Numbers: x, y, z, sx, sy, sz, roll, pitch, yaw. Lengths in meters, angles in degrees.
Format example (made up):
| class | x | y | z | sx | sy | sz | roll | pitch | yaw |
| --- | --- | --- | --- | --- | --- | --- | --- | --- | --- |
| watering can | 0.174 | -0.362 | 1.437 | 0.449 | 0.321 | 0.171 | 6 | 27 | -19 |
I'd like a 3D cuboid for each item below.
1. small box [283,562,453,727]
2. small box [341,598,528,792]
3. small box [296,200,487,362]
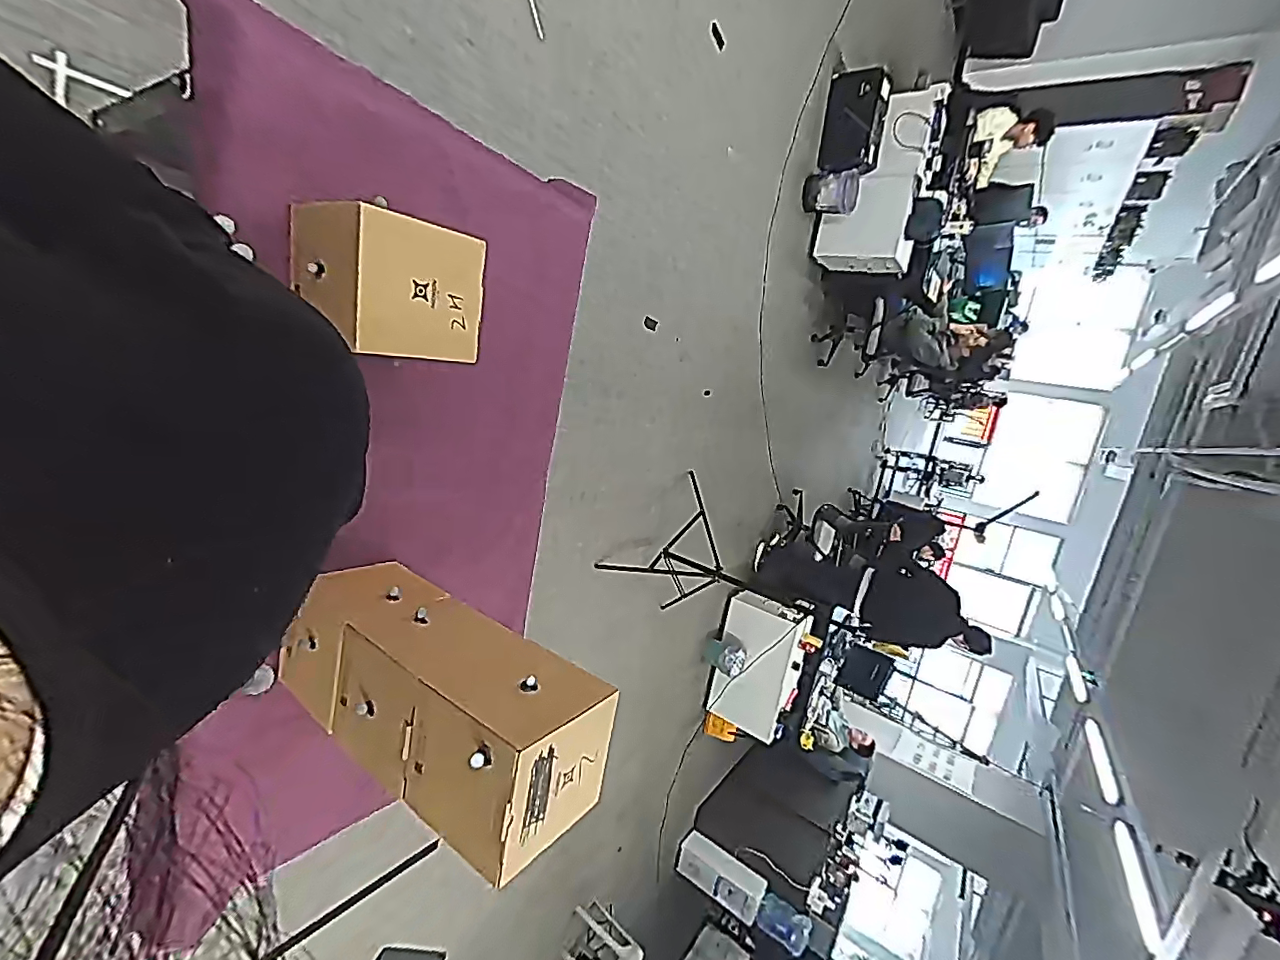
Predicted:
| class | x | y | z | sx | sy | sz | roll | pitch | yaw |
| --- | --- | --- | --- | --- | --- | --- | --- | --- | --- |
| small box | -0.423 | 0.240 | 0.839 | 0.179 | 0.176 | 0.168 | -4 | 108 | -57 |
| small box | -0.288 | 0.282 | 0.756 | 0.179 | 0.176 | 0.168 | -2 | 106 | -56 |
| small box | -0.334 | -0.259 | 0.726 | 0.179 | 0.176 | 0.168 | -11 | 114 | -55 |
